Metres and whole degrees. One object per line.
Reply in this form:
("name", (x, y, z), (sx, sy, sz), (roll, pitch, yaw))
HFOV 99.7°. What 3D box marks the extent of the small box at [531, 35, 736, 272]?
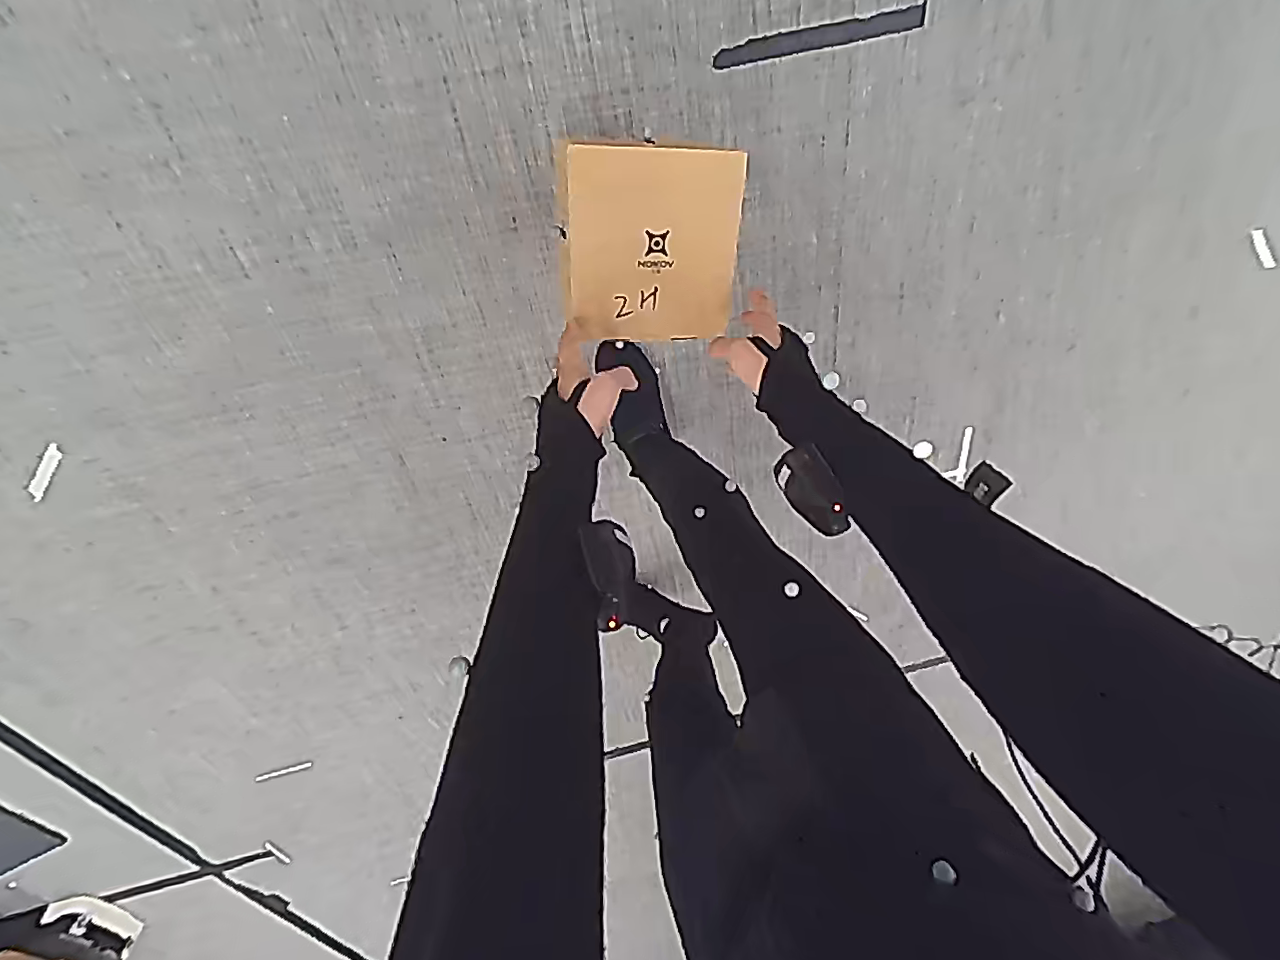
("small box", (-0.019, -0.319, 0.543), (0.168, 0.176, 0.179), (-4, 125, -11))
